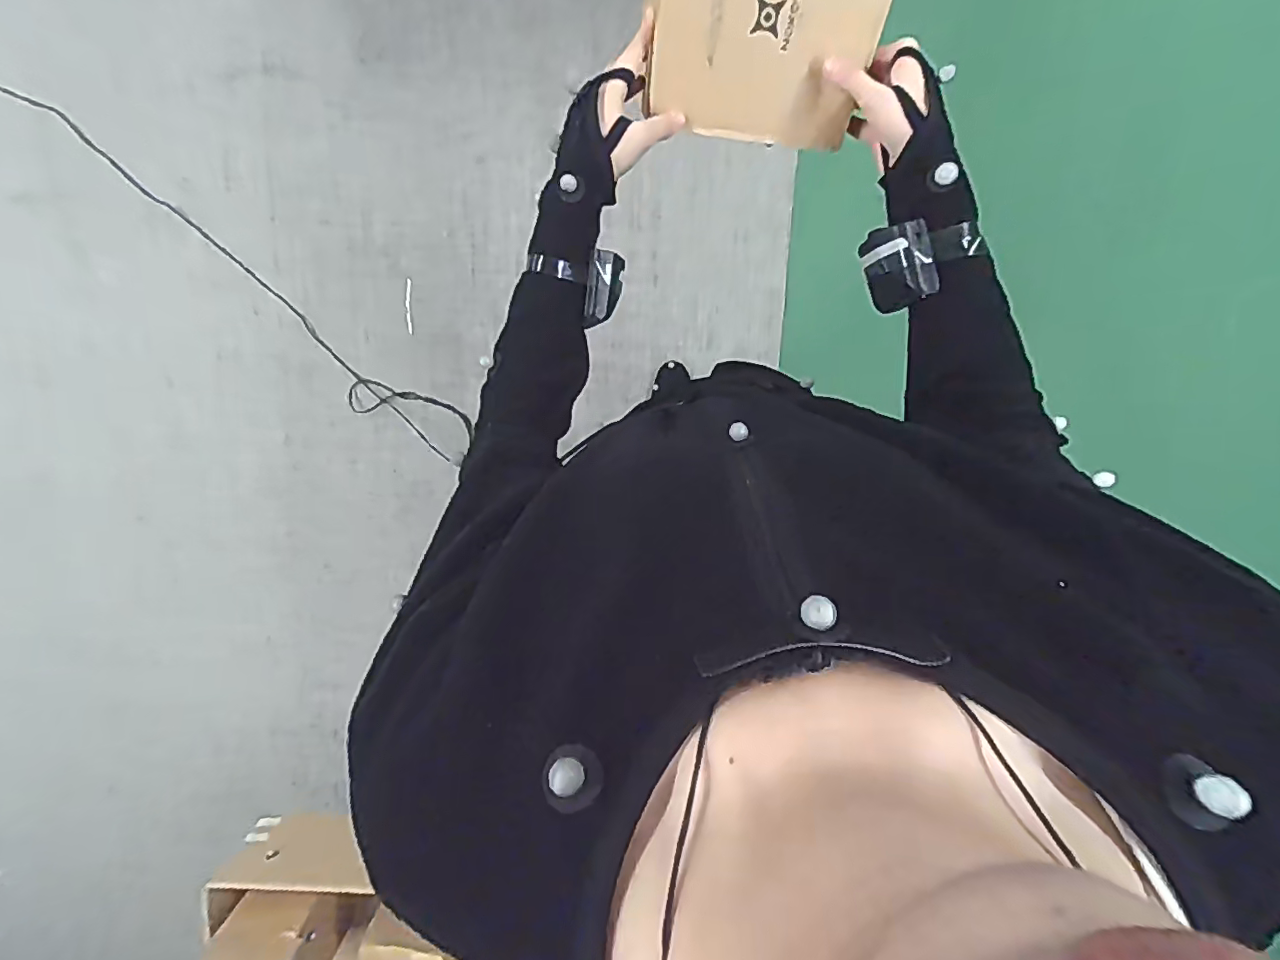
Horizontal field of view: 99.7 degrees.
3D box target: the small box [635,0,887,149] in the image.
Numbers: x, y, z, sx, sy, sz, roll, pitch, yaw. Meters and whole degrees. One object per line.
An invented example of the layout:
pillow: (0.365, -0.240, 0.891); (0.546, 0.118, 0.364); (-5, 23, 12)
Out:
small box: (0.094, -0.408, 0.464); (0.179, 0.176, 0.168); (4, 133, -7)
